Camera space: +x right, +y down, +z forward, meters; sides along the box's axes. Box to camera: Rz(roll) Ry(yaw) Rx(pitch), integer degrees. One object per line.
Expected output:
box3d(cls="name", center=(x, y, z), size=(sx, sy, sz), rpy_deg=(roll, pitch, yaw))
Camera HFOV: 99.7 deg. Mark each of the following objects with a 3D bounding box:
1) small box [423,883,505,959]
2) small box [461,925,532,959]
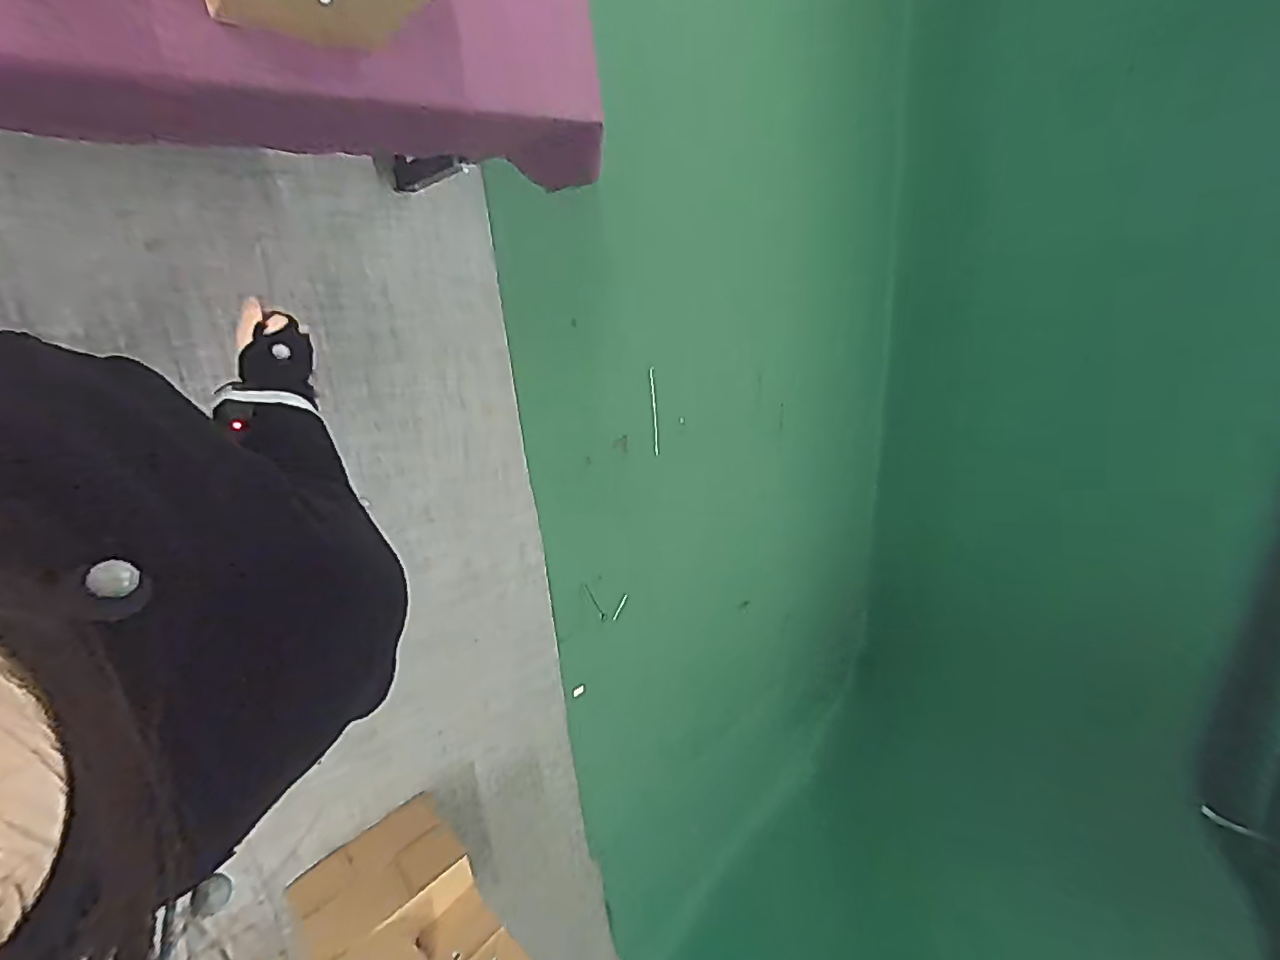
box3d(cls="small box", center=(-0.488, 1.302, 1.519), size=(0.179, 0.176, 0.168), rpy_deg=(-25, 119, -41))
box3d(cls="small box", center=(-0.368, 1.333, 1.413), size=(0.168, 0.176, 0.179), rpy_deg=(-22, 117, -42))
